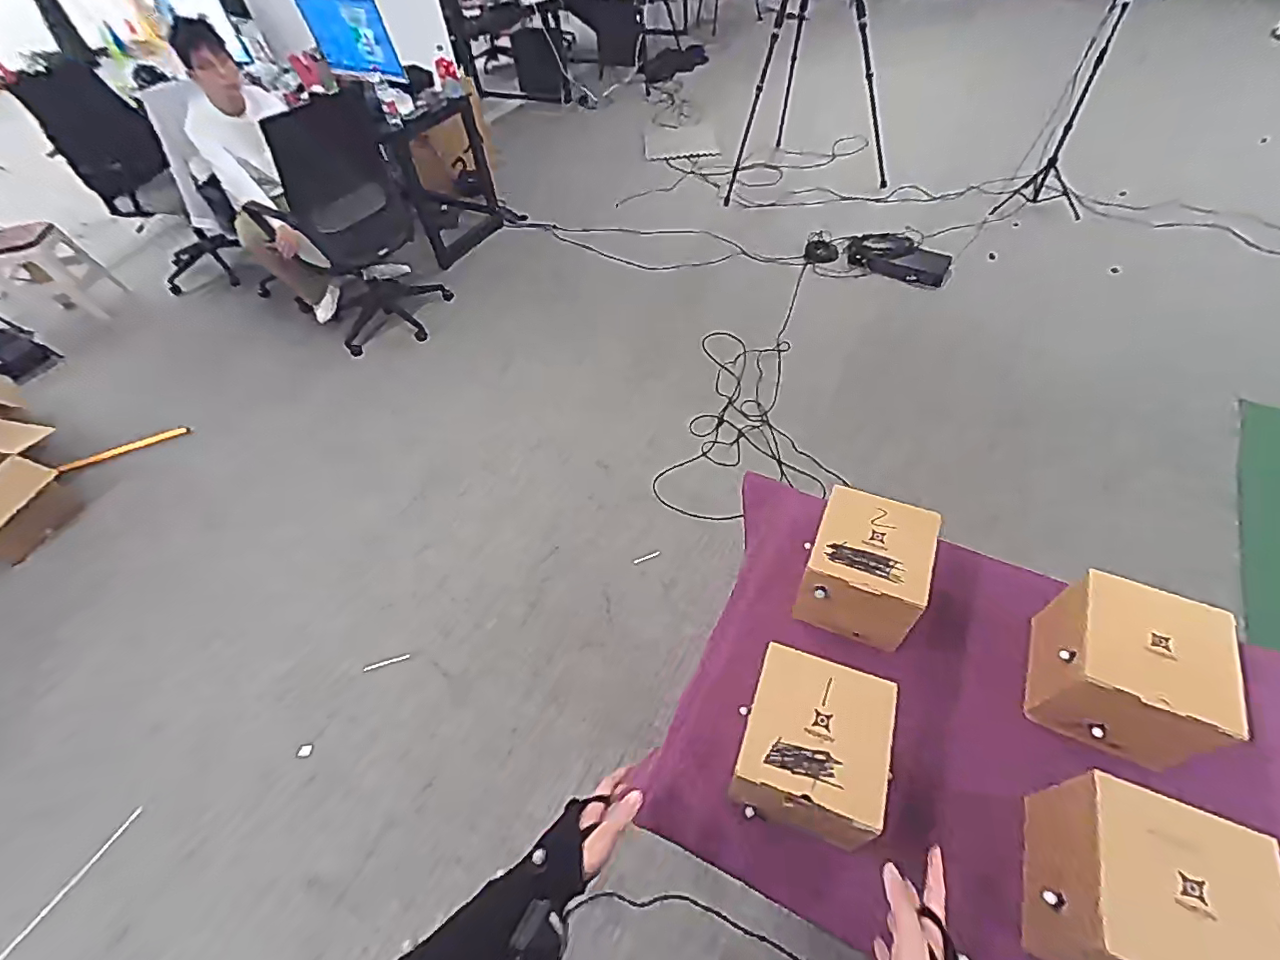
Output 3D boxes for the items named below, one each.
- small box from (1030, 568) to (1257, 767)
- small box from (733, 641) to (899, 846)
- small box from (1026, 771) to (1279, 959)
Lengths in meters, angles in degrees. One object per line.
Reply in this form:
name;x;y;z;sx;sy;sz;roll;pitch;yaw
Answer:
small box;0.671;0.259;0.744;0.168;0.176;0.179;20;57;21
small box;0.224;0.351;0.715;0.168;0.176;0.179;15;52;17
small box;0.554;0.461;0.591;0.168;0.176;0.179;18;54;19
